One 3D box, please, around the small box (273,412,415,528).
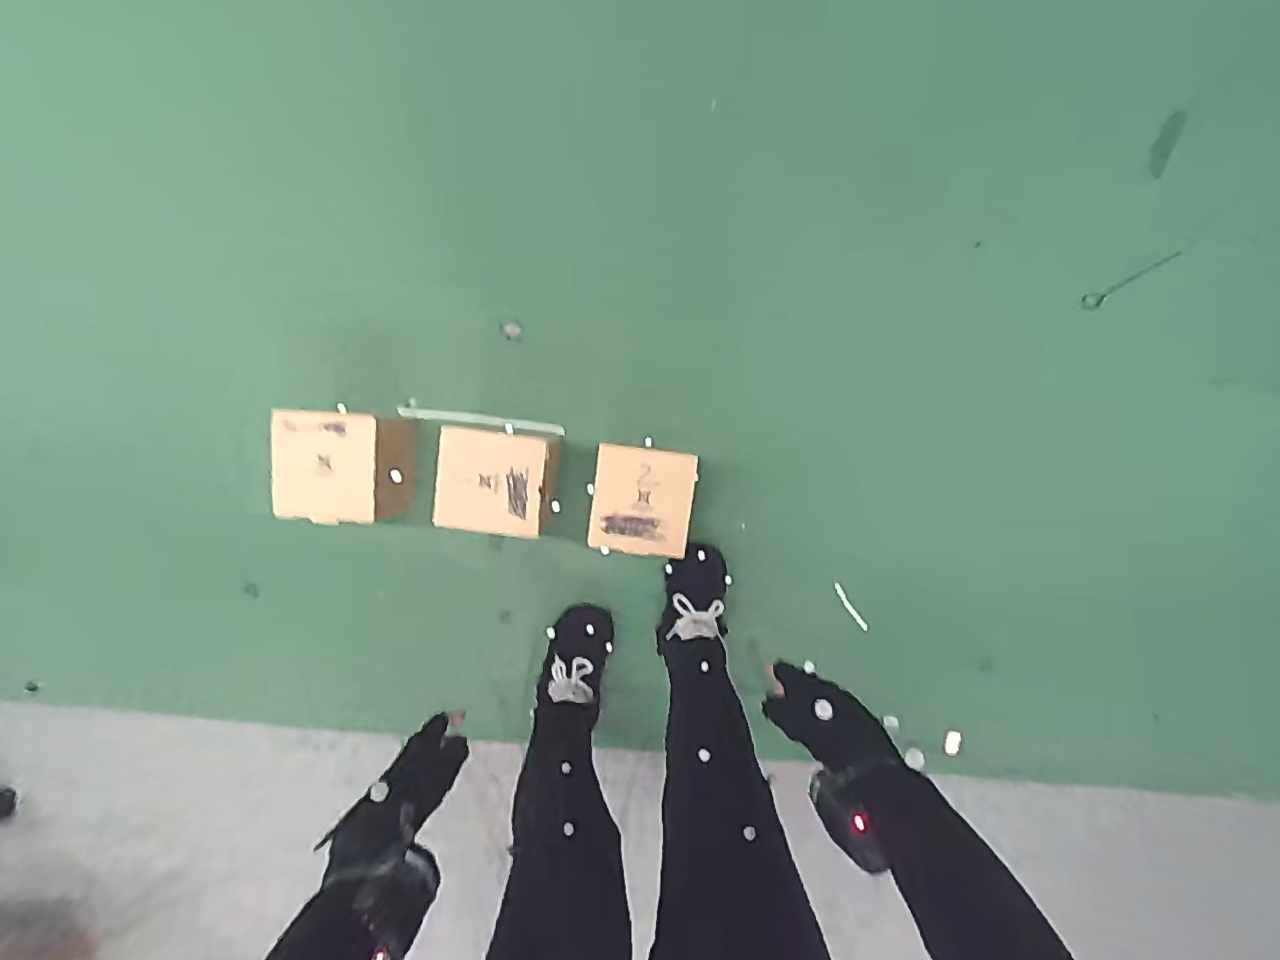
[{"bbox_3d":[-0.510,-0.024,0.952,0.168,0.176,0.179,4,97,-2],"label":"small box"}]
